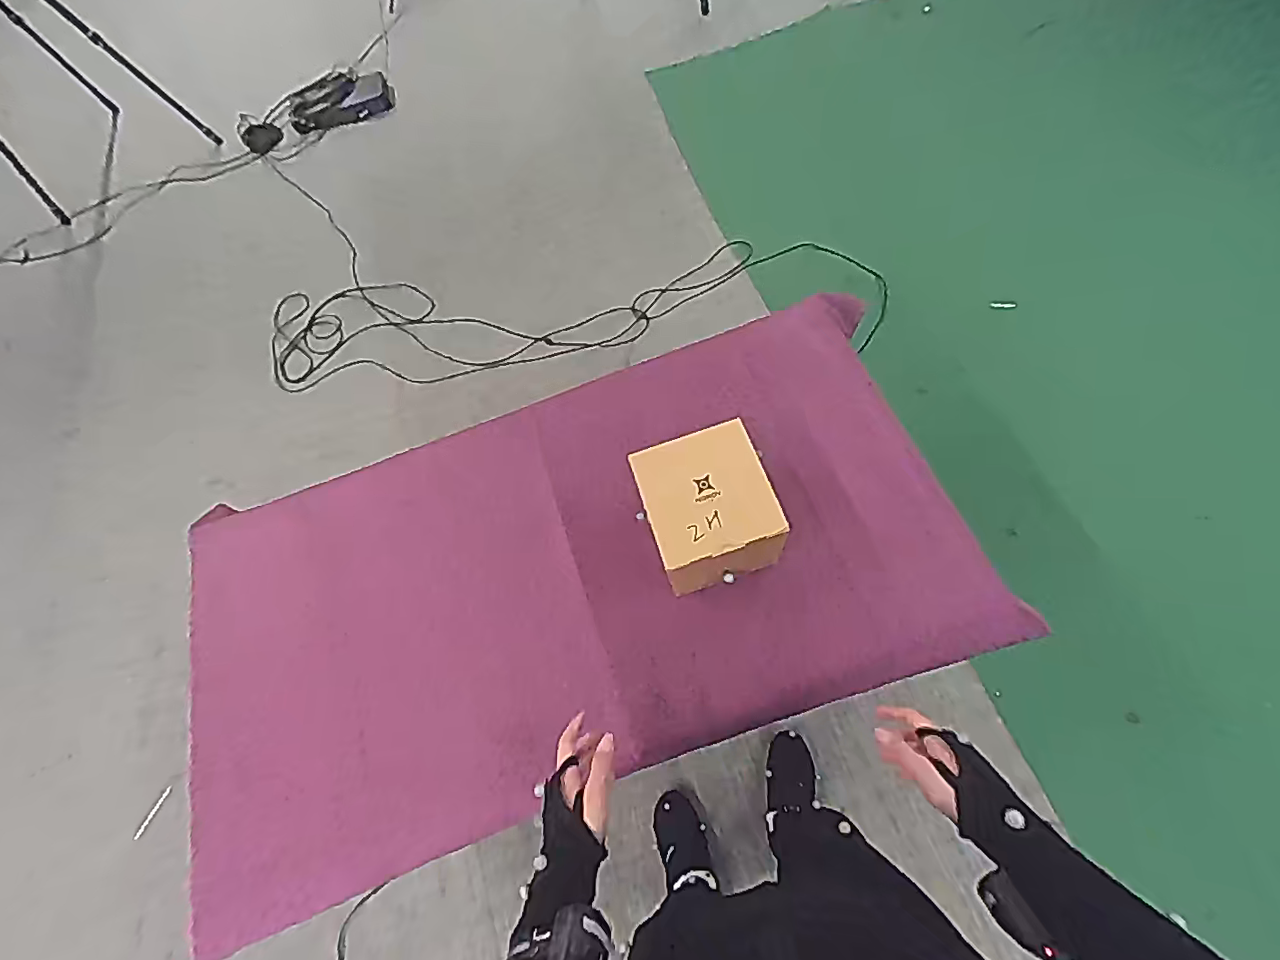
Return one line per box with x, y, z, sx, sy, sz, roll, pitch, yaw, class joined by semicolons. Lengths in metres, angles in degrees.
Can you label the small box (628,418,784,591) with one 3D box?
0.091;0.043;0.785;0.168;0.176;0.179;-18;66;0;small box
